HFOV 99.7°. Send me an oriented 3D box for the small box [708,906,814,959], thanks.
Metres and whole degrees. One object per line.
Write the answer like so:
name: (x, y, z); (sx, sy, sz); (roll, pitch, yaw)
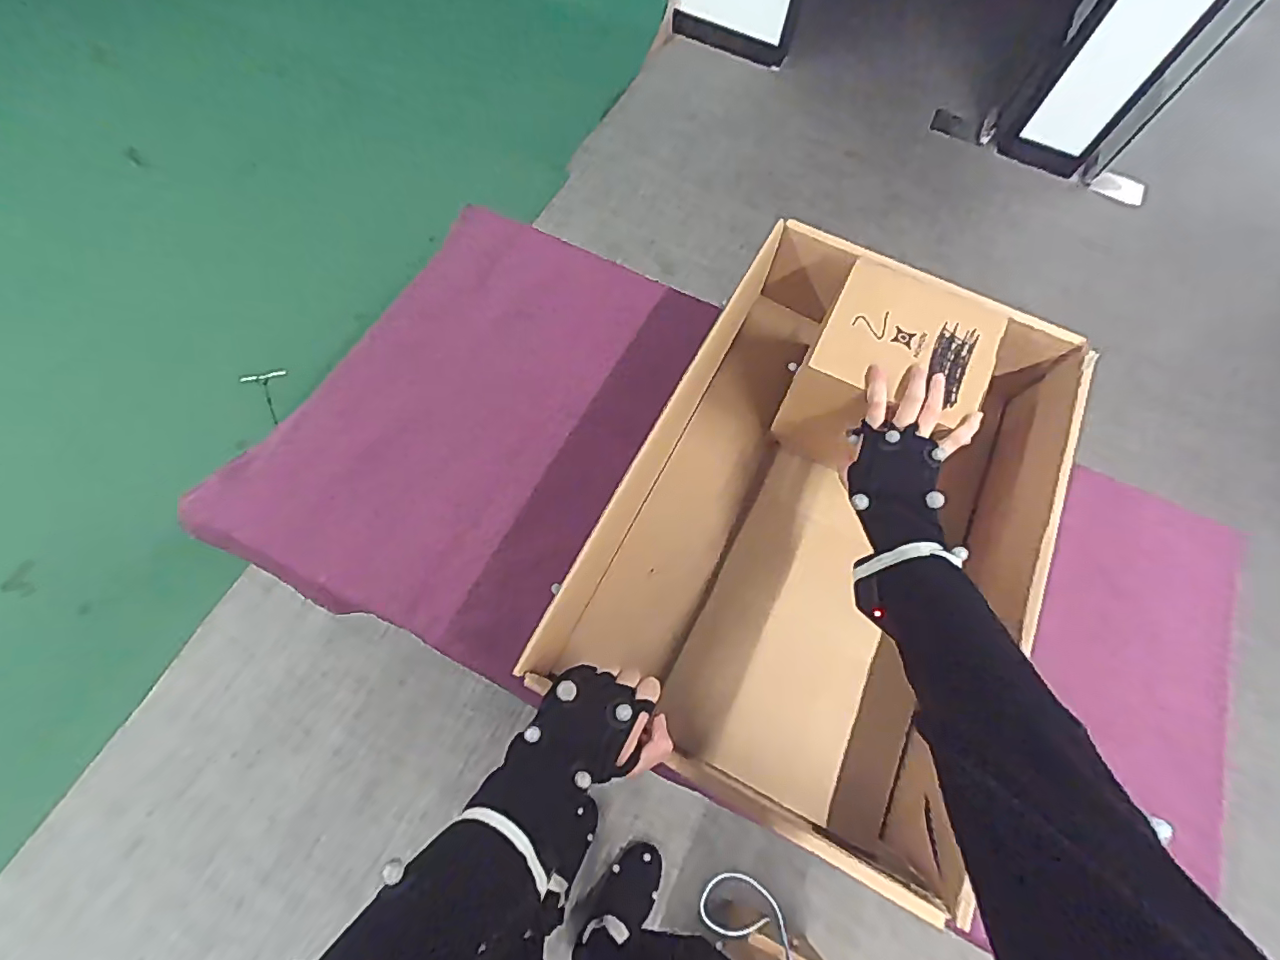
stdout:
small box: (0.238, 0.974, 1.046); (0.179, 0.176, 0.168); (25, 69, 7)
